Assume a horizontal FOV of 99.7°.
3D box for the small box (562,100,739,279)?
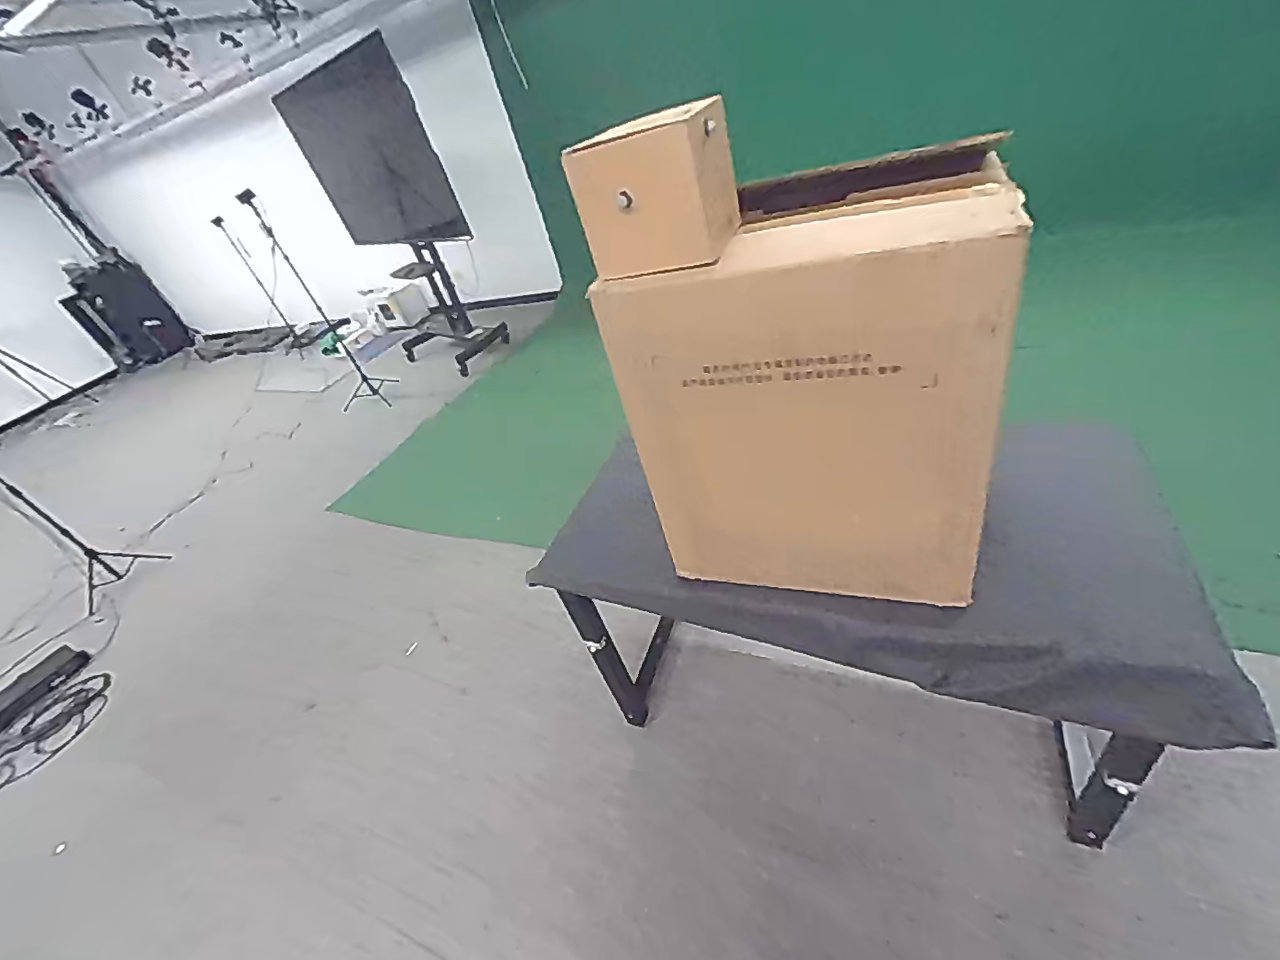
[{"bbox_3d":[0.025,-0.401,0.764,0.179,0.176,0.168,0,41,27],"label":"small box"}]
